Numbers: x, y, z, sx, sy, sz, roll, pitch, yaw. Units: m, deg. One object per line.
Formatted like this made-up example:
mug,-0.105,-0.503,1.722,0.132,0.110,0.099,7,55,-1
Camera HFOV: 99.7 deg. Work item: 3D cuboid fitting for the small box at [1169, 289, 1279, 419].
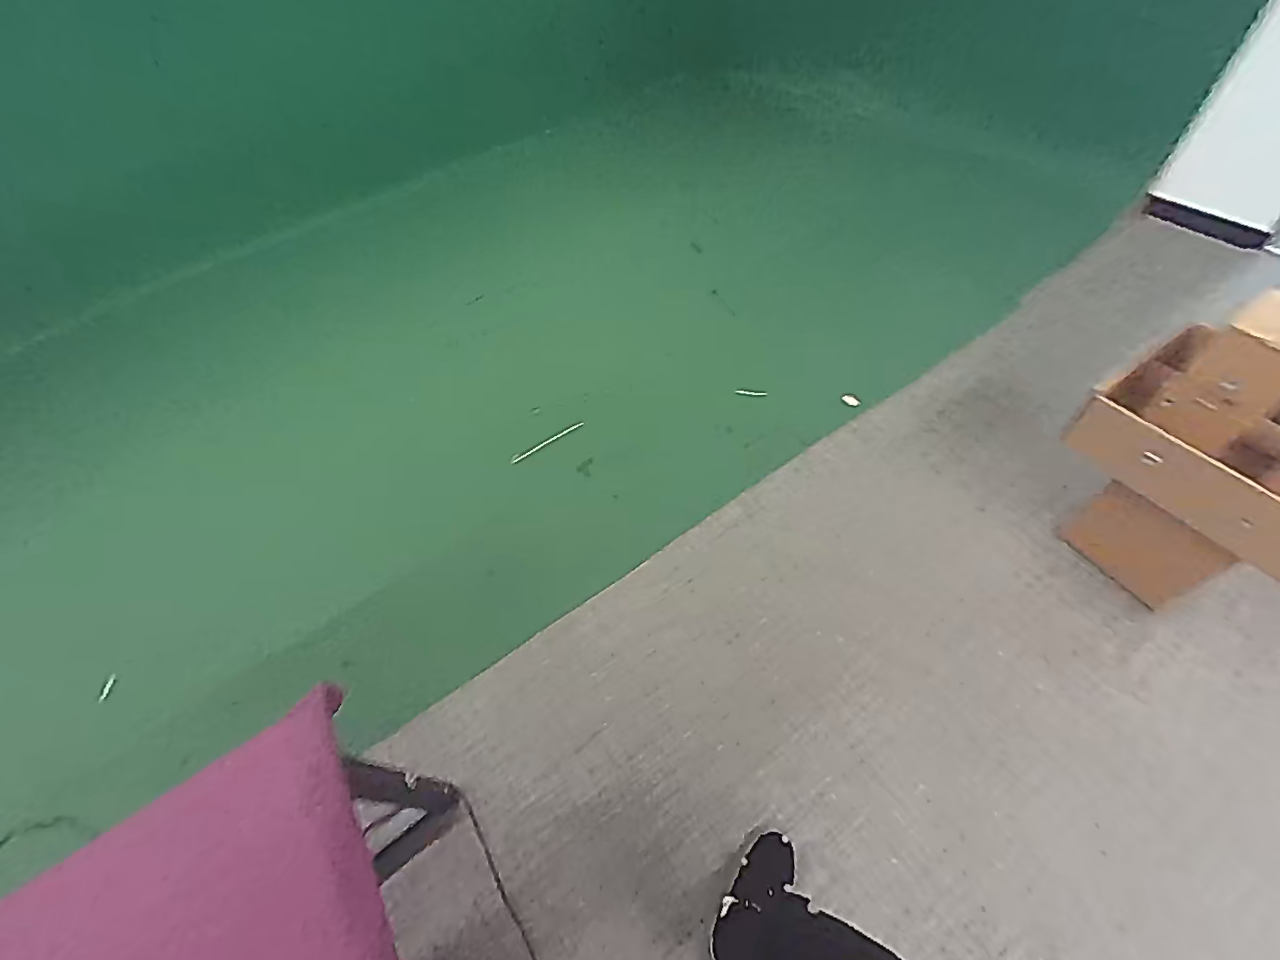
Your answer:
small box,1.301,-0.264,1.147,0.179,0.176,0.168,-31,57,-15
